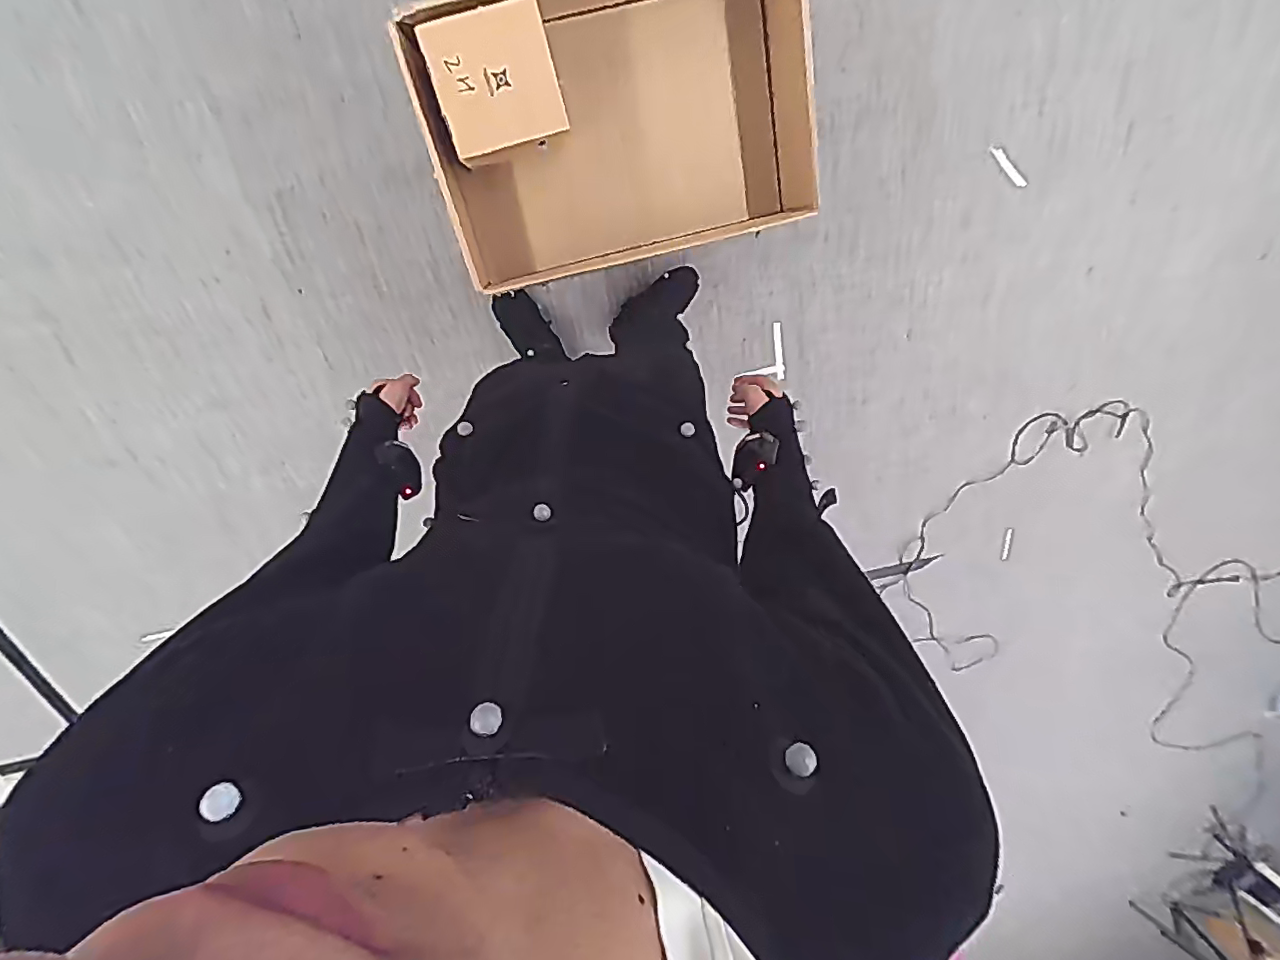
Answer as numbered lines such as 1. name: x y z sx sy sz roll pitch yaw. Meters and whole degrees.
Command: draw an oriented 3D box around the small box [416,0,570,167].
1. small box: -0.219 -0.607 0.845 0.179 0.176 0.168 -16 116 -2
